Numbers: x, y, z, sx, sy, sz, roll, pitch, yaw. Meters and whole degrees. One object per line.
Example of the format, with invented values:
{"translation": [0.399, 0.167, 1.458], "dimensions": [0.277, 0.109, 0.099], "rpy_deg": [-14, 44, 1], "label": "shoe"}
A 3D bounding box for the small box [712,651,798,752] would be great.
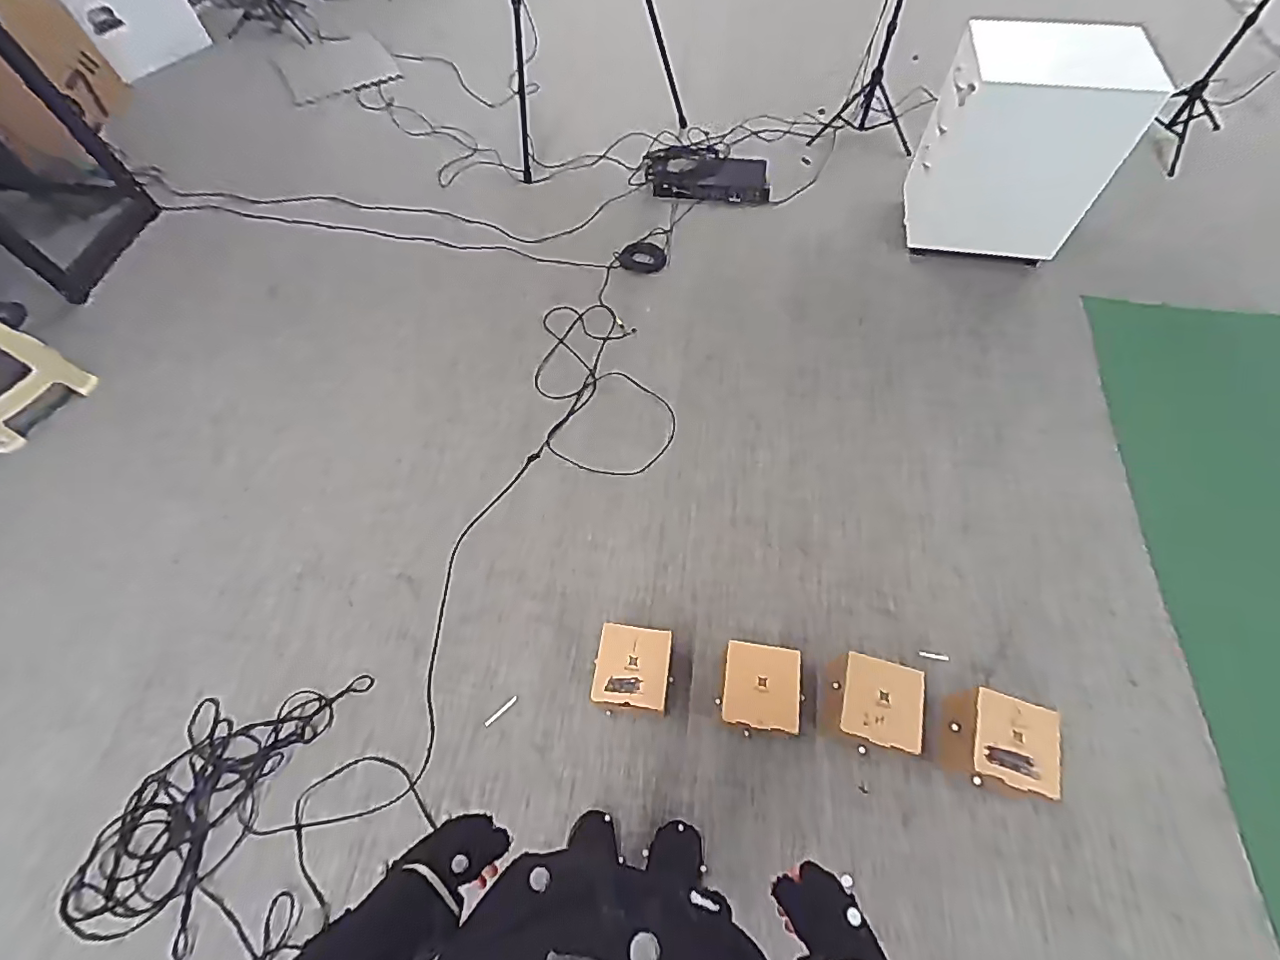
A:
{"translation": [0.263, 0.517, 1.254], "dimensions": [0.168, 0.176, 0.179], "rpy_deg": [8, 61, 6], "label": "small box"}

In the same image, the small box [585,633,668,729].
{"translation": [-0.024, 0.482, 1.283], "dimensions": [0.168, 0.176, 0.179], "rpy_deg": [7, 59, 6], "label": "small box"}

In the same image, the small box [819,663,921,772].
{"translation": [0.517, 0.543, 1.228], "dimensions": [0.168, 0.176, 0.179], "rpy_deg": [14, 62, 11], "label": "small box"}
